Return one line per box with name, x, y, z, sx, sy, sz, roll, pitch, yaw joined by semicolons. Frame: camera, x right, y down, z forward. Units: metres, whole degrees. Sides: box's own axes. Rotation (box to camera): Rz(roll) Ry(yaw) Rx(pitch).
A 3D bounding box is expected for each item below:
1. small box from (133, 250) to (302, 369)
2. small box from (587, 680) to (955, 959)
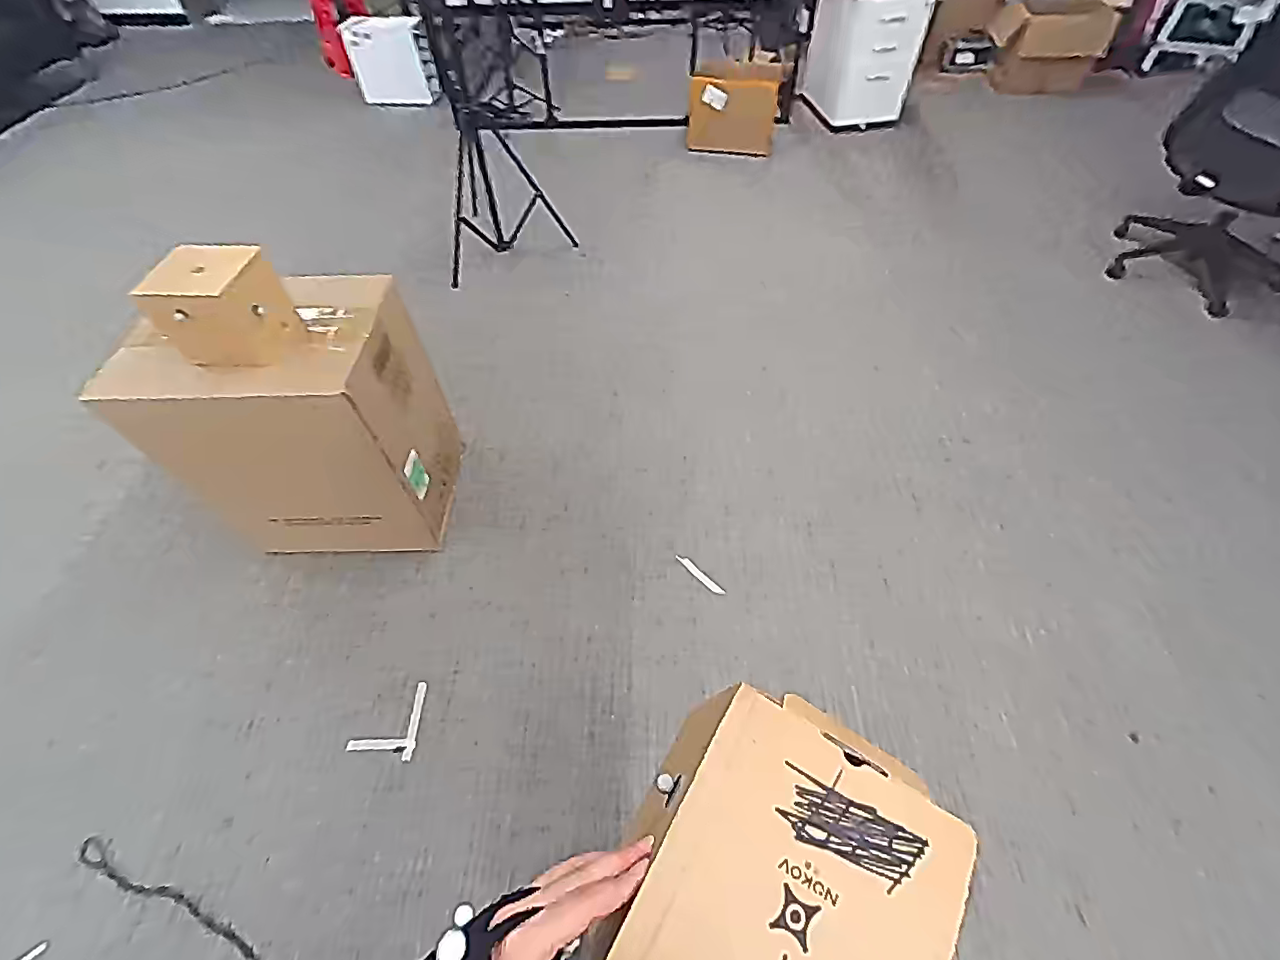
small box;-0.831;-0.339;1.090;0.179;0.176;0.168;2;53;4
small box;0.072;0.270;0.373;0.168;0.176;0.179;30;62;9
